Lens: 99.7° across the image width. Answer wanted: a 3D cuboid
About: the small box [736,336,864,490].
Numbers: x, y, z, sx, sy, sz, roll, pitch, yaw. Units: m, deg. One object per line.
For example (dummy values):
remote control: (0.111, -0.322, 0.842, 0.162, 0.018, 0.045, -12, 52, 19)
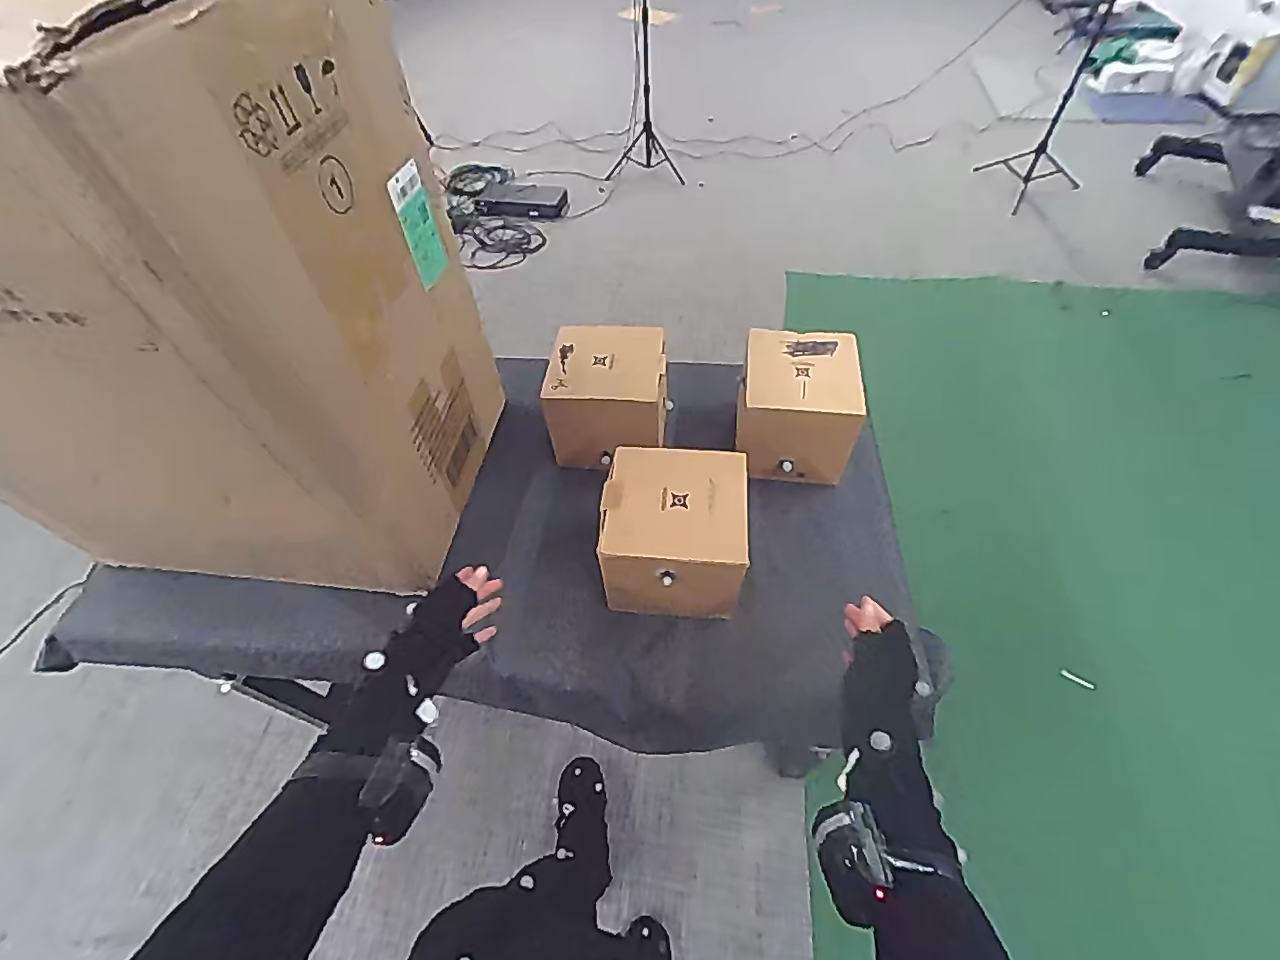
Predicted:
small box: (0.246, -0.107, 0.871, 0.168, 0.176, 0.179, 5, 54, 7)
